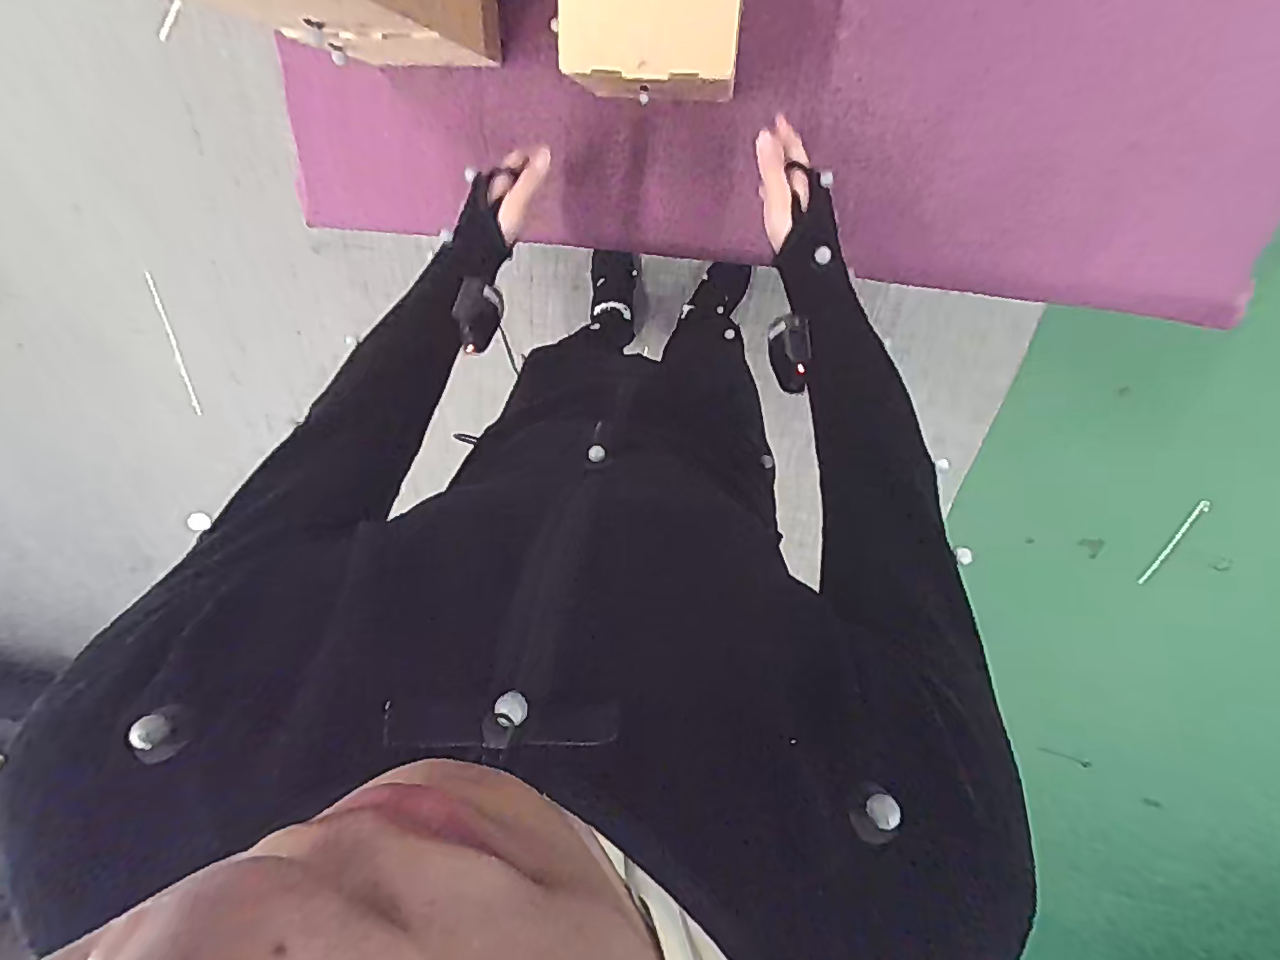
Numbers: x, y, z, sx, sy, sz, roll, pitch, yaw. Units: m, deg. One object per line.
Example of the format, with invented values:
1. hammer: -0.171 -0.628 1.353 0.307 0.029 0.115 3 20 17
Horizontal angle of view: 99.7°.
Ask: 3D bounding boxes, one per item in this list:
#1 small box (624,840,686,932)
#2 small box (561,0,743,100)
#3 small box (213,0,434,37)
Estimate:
1. small box: 0.053 1.301 1.735 0.168 0.176 0.179 12 121 0
2. small box: 0.020 -0.494 0.535 0.168 0.176 0.179 6 121 5
3. small box: -0.275 -0.462 0.402 0.168 0.176 0.179 6 120 5
